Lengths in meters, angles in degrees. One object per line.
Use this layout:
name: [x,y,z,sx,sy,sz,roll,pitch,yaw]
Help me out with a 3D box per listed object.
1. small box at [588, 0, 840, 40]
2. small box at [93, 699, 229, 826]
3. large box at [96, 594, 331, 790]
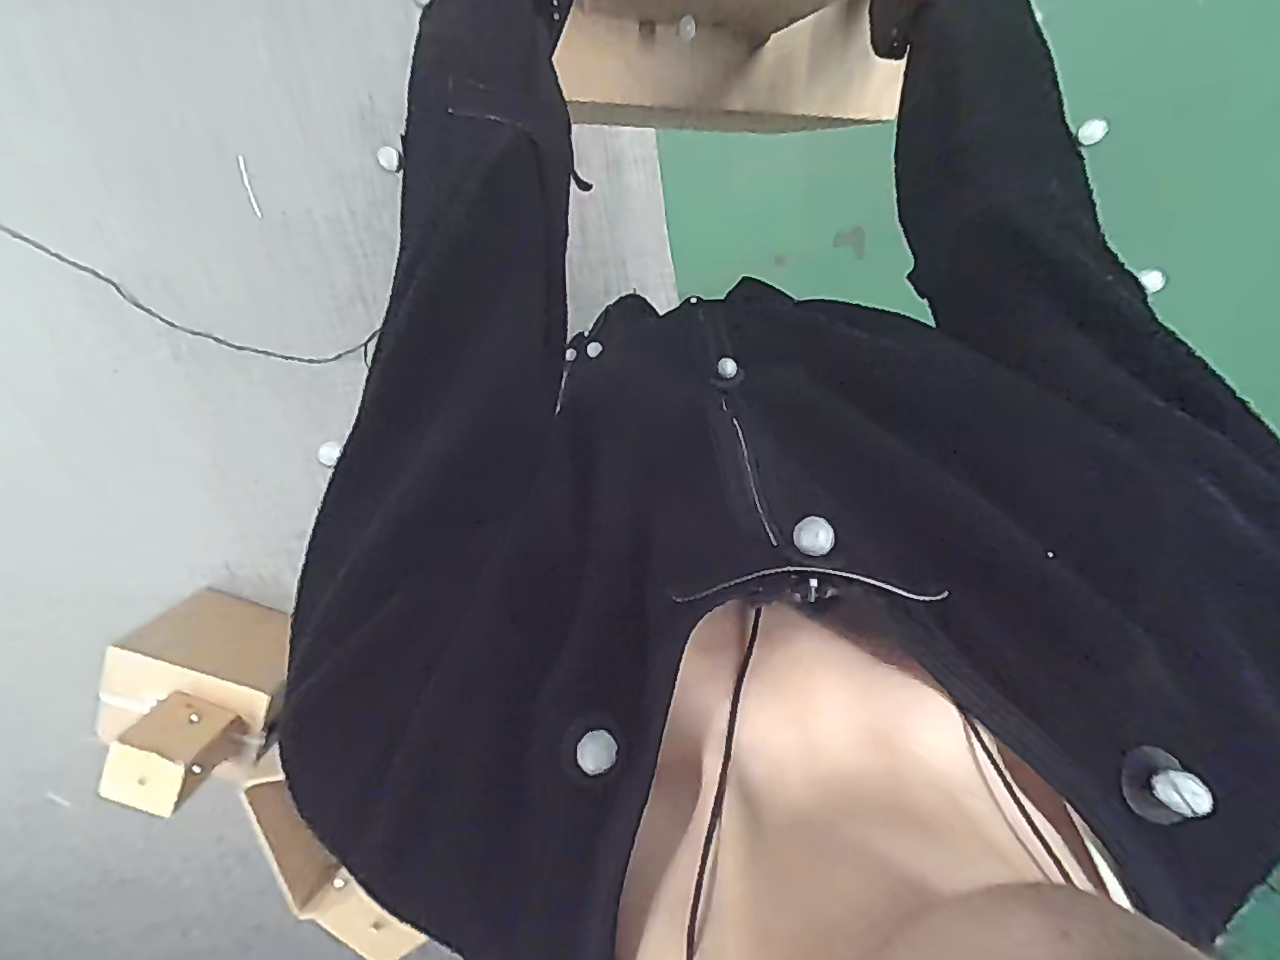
small box: [0.049,-0.414,0.345,0.168,0.176,0.179,-1,121,-9]
small box: [-1.132,0.667,1.291,0.168,0.176,0.179,25,105,-6]
large box: [-1.168,0.578,1.519,0.408,0.320,0.320,21,104,-4]
